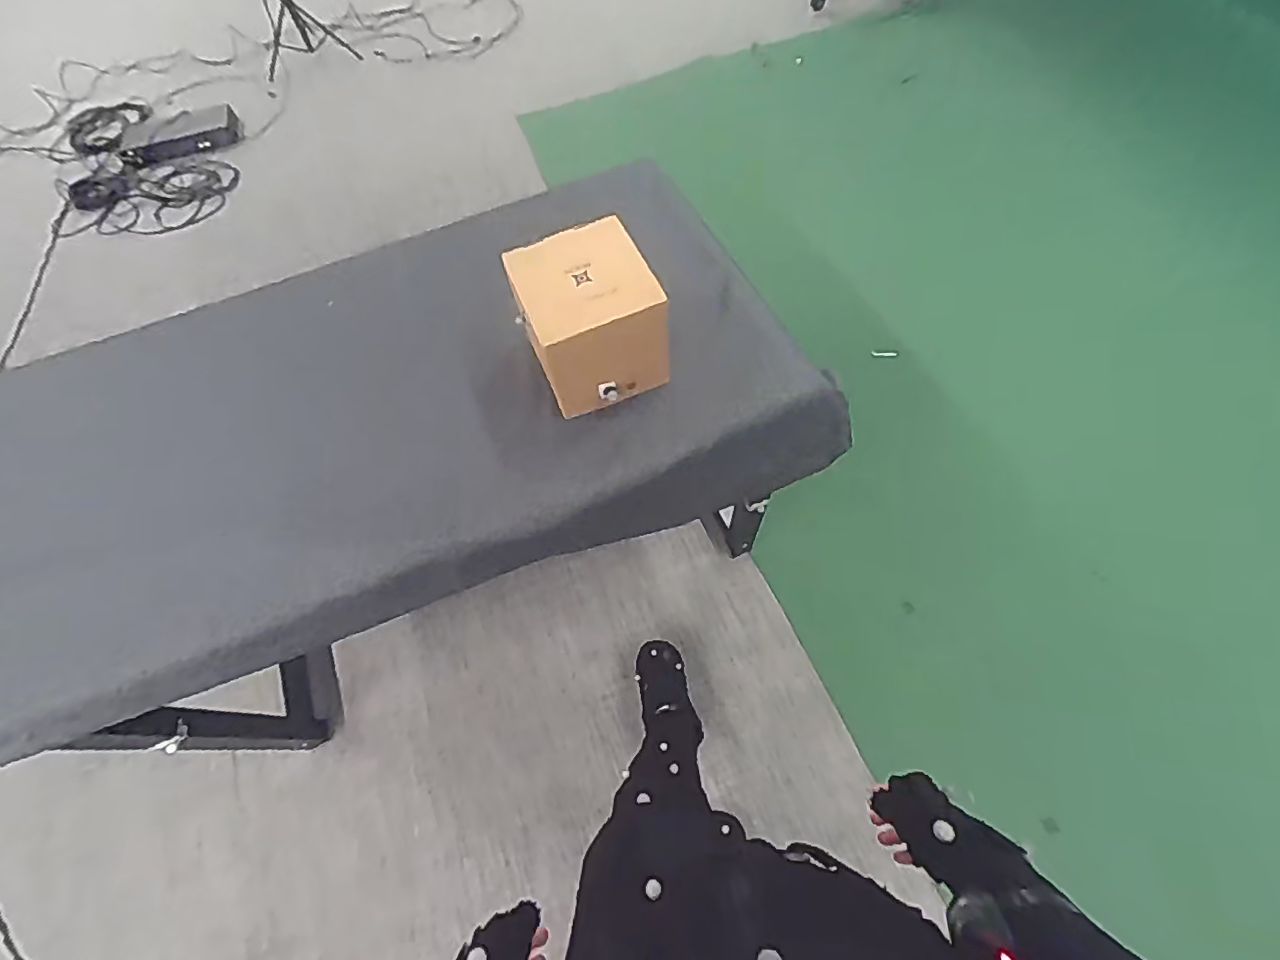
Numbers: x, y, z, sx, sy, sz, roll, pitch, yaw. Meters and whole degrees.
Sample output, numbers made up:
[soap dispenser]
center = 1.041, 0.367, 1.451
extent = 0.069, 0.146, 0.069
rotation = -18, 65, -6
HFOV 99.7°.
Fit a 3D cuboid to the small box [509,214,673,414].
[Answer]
[small box]
center = -0.063, -0.225, 0.756
extent = 0.168, 0.176, 0.179
rotation = -23, 65, -6
